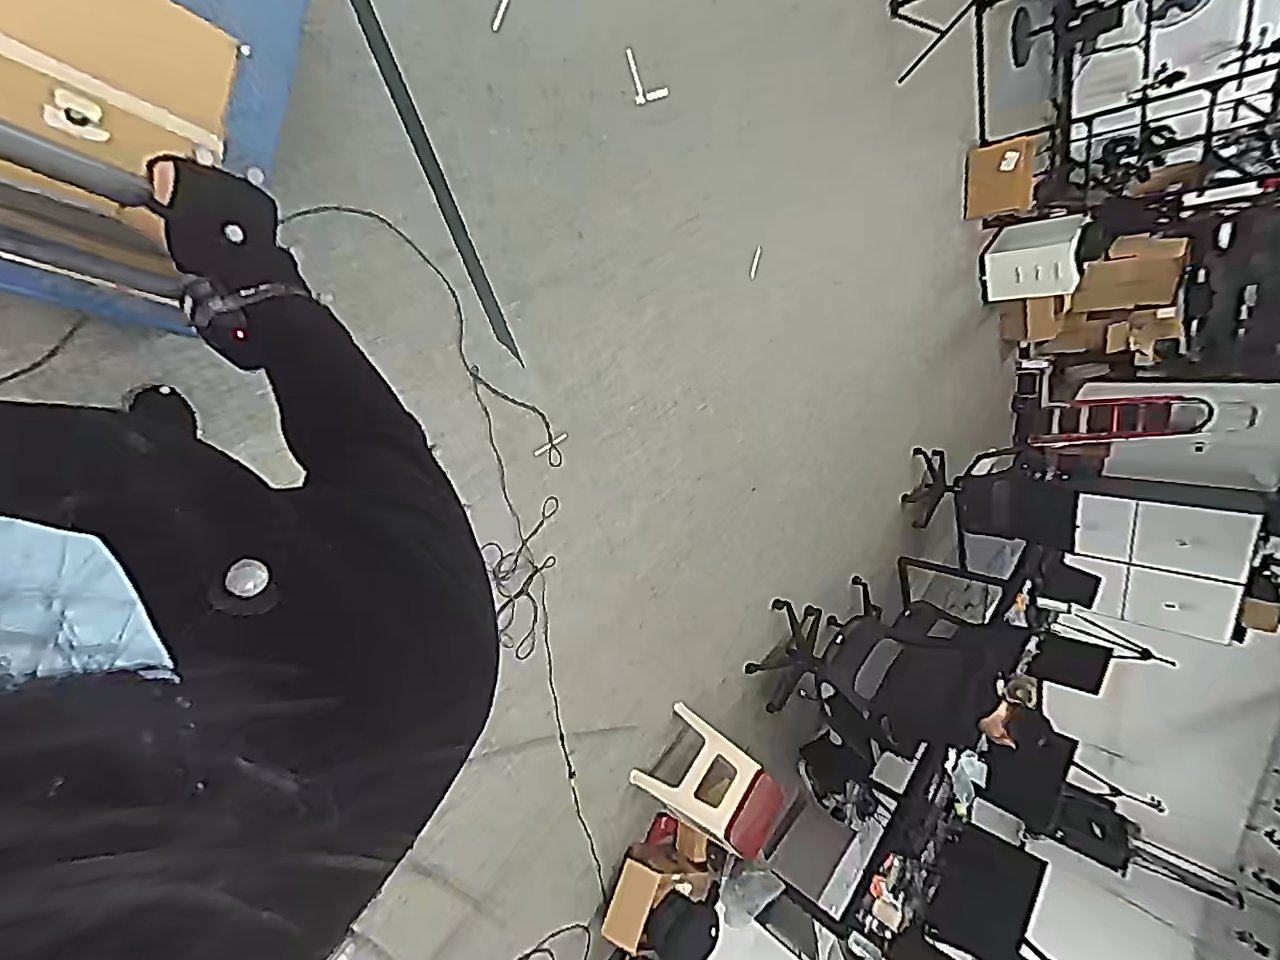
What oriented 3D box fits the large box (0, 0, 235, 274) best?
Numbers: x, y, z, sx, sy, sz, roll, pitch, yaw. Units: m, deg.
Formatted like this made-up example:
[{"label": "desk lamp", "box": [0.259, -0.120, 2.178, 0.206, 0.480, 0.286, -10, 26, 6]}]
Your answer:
[{"label": "large box", "box": [-0.854, -0.527, 0.742, 0.408, 0.320, 0.320, 13, 90, -45]}]
